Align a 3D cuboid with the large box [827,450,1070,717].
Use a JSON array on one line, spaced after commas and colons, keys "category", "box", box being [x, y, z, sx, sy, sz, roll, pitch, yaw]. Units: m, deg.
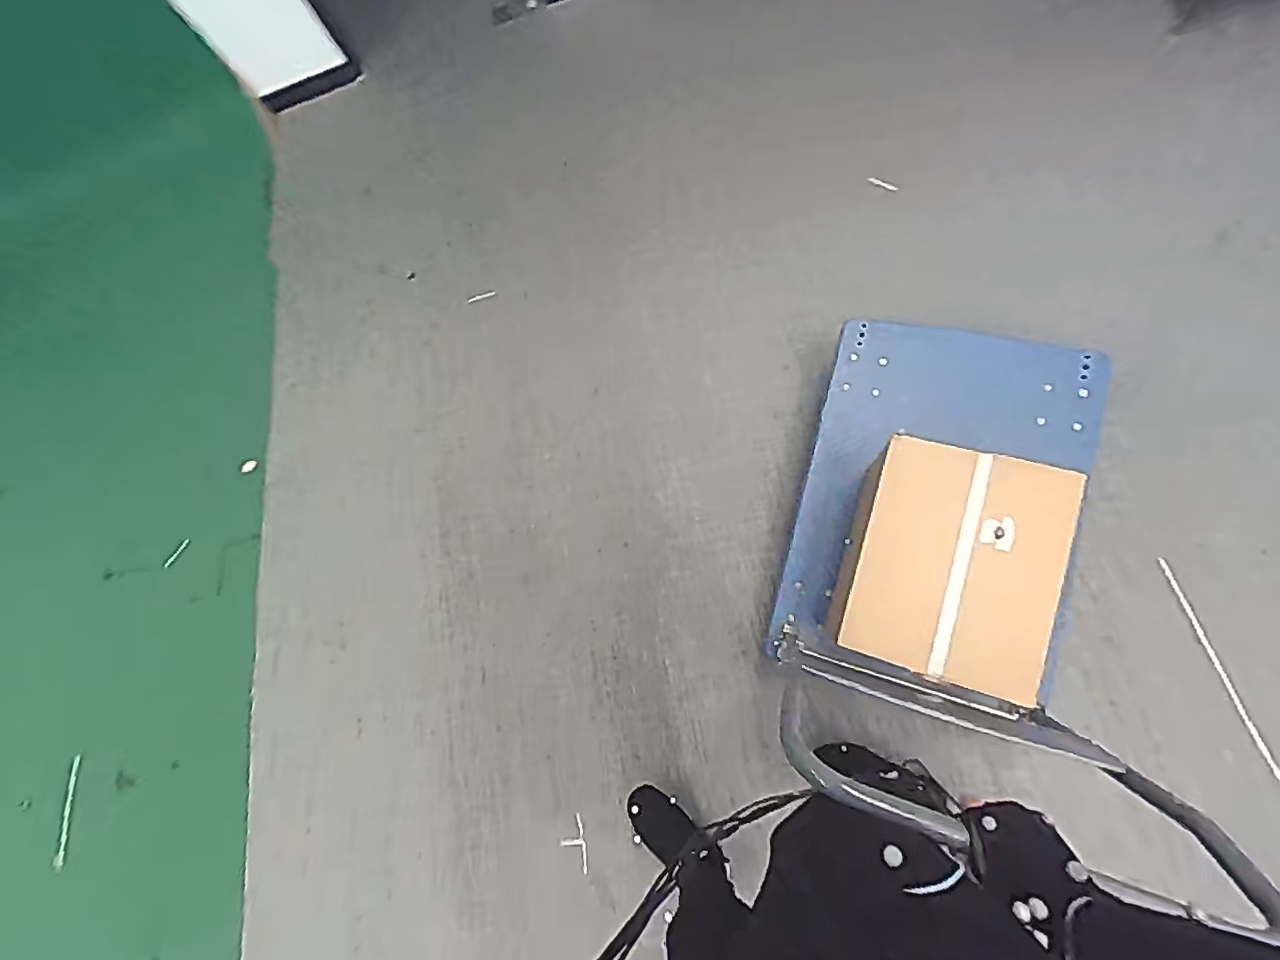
[{"category": "large box", "box": [0.585, 0.199, 1.091, 0.320, 0.320, 0.408, 16, 82, 17]}]
